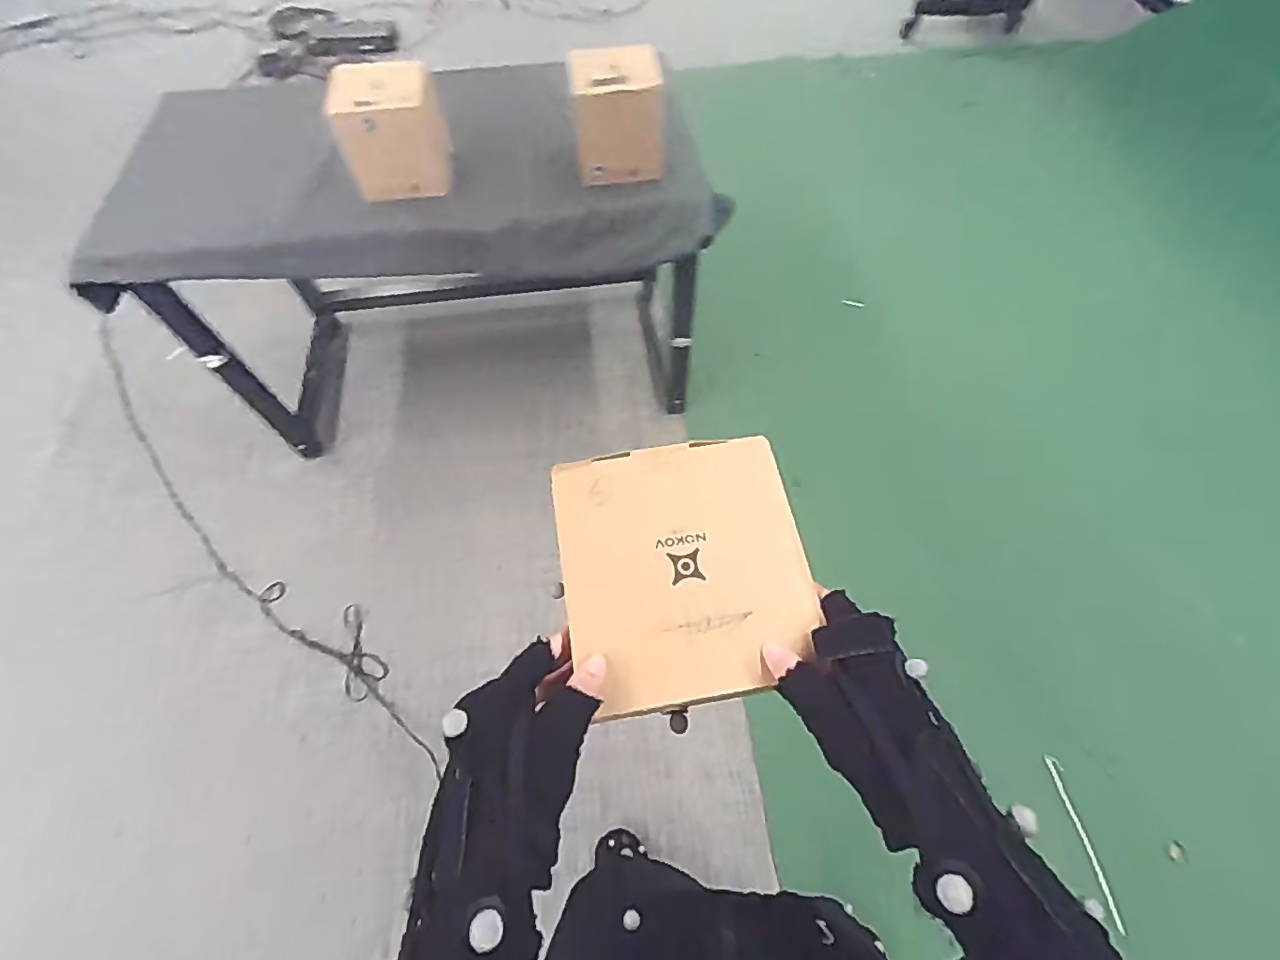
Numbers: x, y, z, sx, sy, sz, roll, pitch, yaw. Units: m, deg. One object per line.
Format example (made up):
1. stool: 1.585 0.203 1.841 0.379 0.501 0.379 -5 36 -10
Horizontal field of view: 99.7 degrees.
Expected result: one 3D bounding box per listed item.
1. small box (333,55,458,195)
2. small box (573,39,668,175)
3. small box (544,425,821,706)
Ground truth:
1. small box: -0.461 -0.686 1.051 0.168 0.176 0.179 -7 60 -3
2. small box: -0.036 -0.725 1.064 0.168 0.176 0.179 -6 59 -2
3. small box: 0.019 0.079 0.445 0.168 0.176 0.179 -9 68 -6
